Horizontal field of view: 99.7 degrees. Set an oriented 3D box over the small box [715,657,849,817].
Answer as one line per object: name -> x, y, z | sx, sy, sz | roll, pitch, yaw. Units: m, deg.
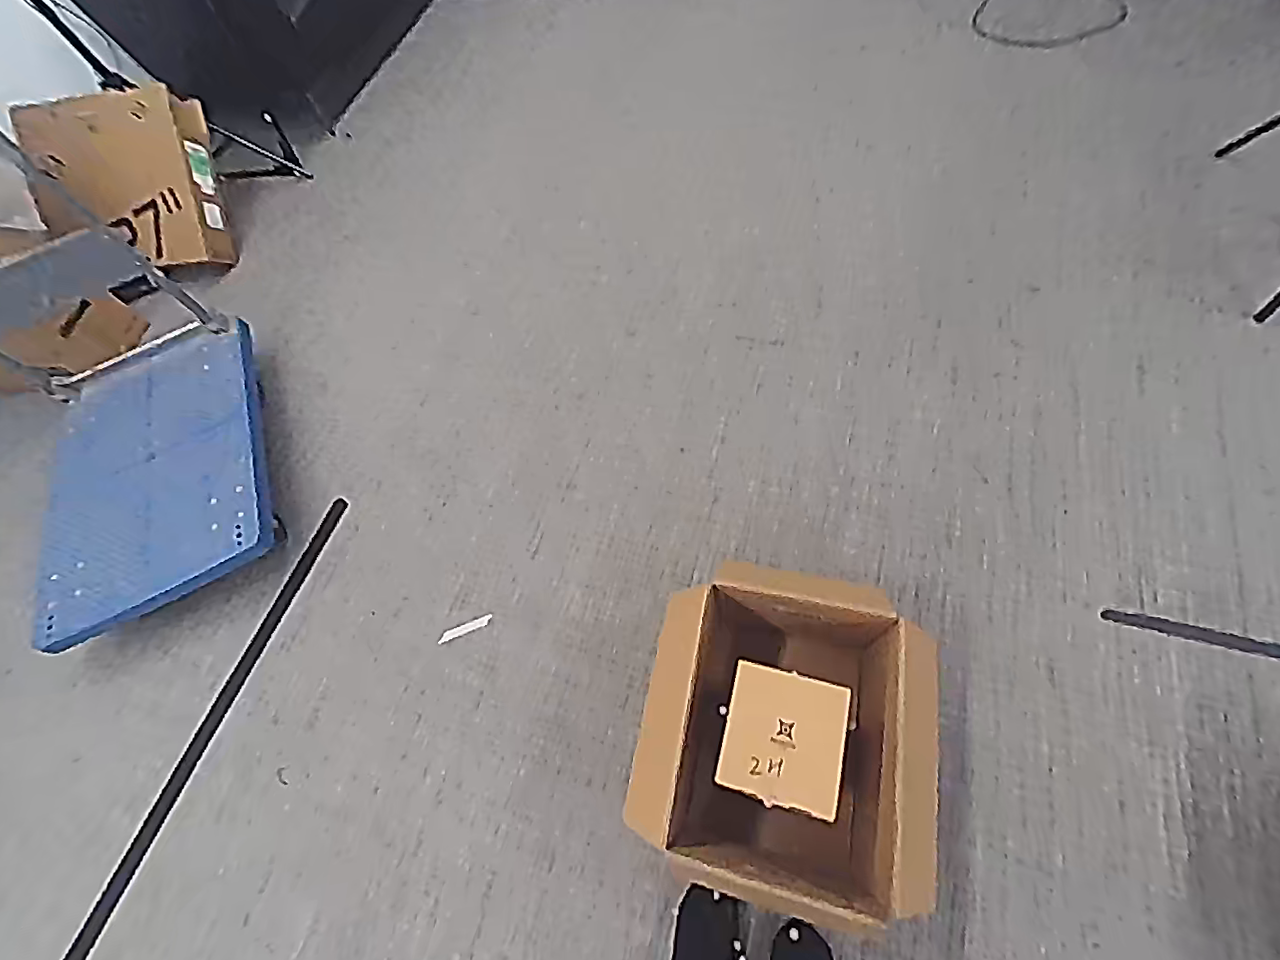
small box -> 0.219, 0.398, 0.851 | 0.168, 0.176, 0.179 | 11, 67, 16
